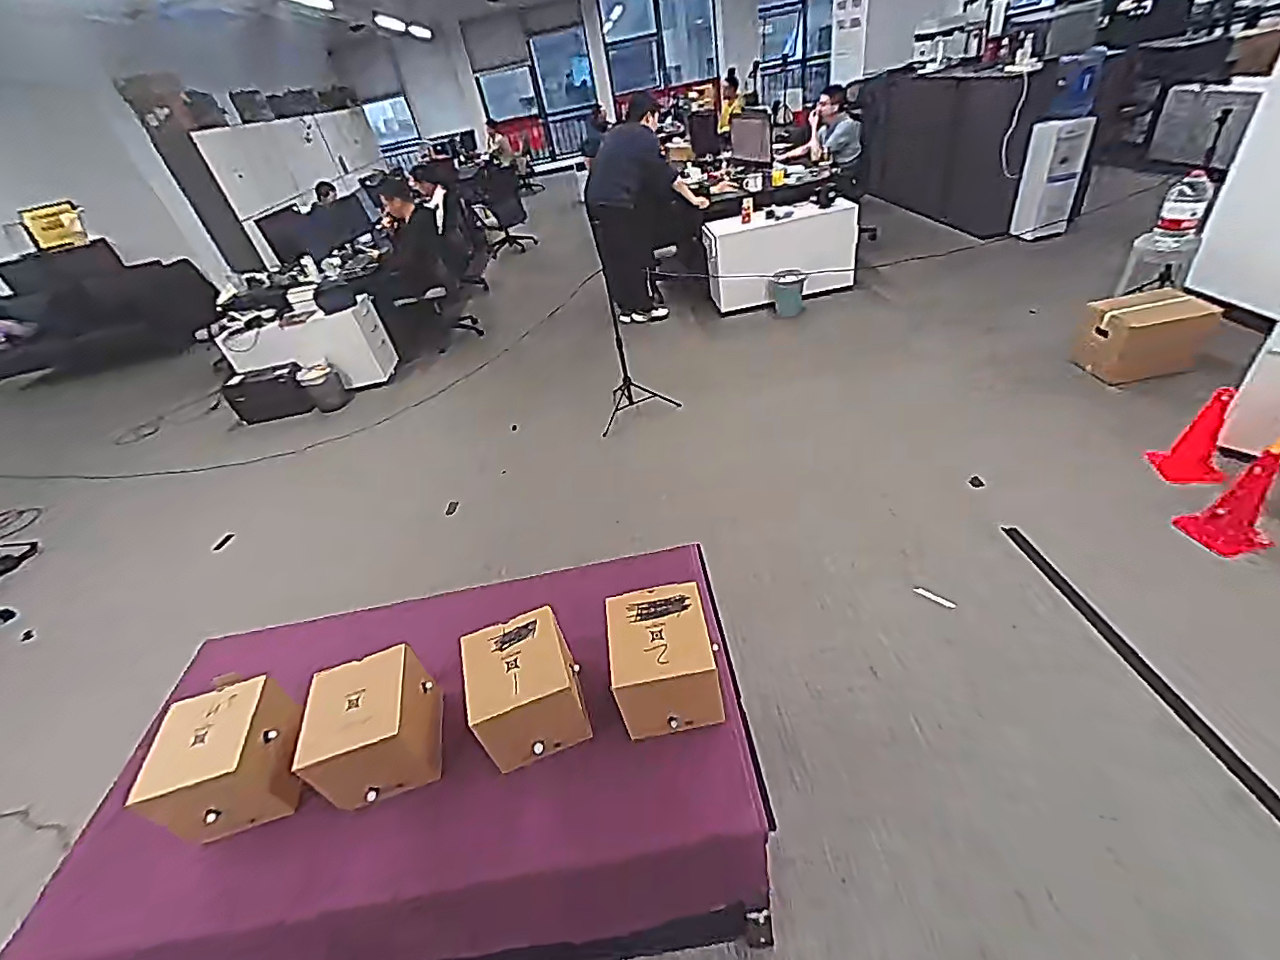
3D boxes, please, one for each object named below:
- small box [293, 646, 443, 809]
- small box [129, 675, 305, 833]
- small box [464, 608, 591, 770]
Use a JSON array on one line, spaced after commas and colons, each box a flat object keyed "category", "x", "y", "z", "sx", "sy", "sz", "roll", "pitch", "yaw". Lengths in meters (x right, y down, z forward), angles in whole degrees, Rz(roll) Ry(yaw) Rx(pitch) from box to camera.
[{"category": "small box", "x": -0.456, "y": 0.428, "z": 0.941, "sx": 0.168, "sy": 0.176, "sz": 0.179, "roll": -17, "pitch": 37, "yaw": -6}, {"category": "small box", "x": -0.704, "y": 0.480, "z": 0.939, "sx": 0.168, "sy": 0.176, "sz": 0.179, "roll": -16, "pitch": 37, "yaw": -6}, {"category": "small box", "x": -0.197, "y": 0.365, "z": 0.949, "sx": 0.168, "sy": 0.176, "sz": 0.179, "roll": -19, "pitch": 38, "yaw": -9}]
